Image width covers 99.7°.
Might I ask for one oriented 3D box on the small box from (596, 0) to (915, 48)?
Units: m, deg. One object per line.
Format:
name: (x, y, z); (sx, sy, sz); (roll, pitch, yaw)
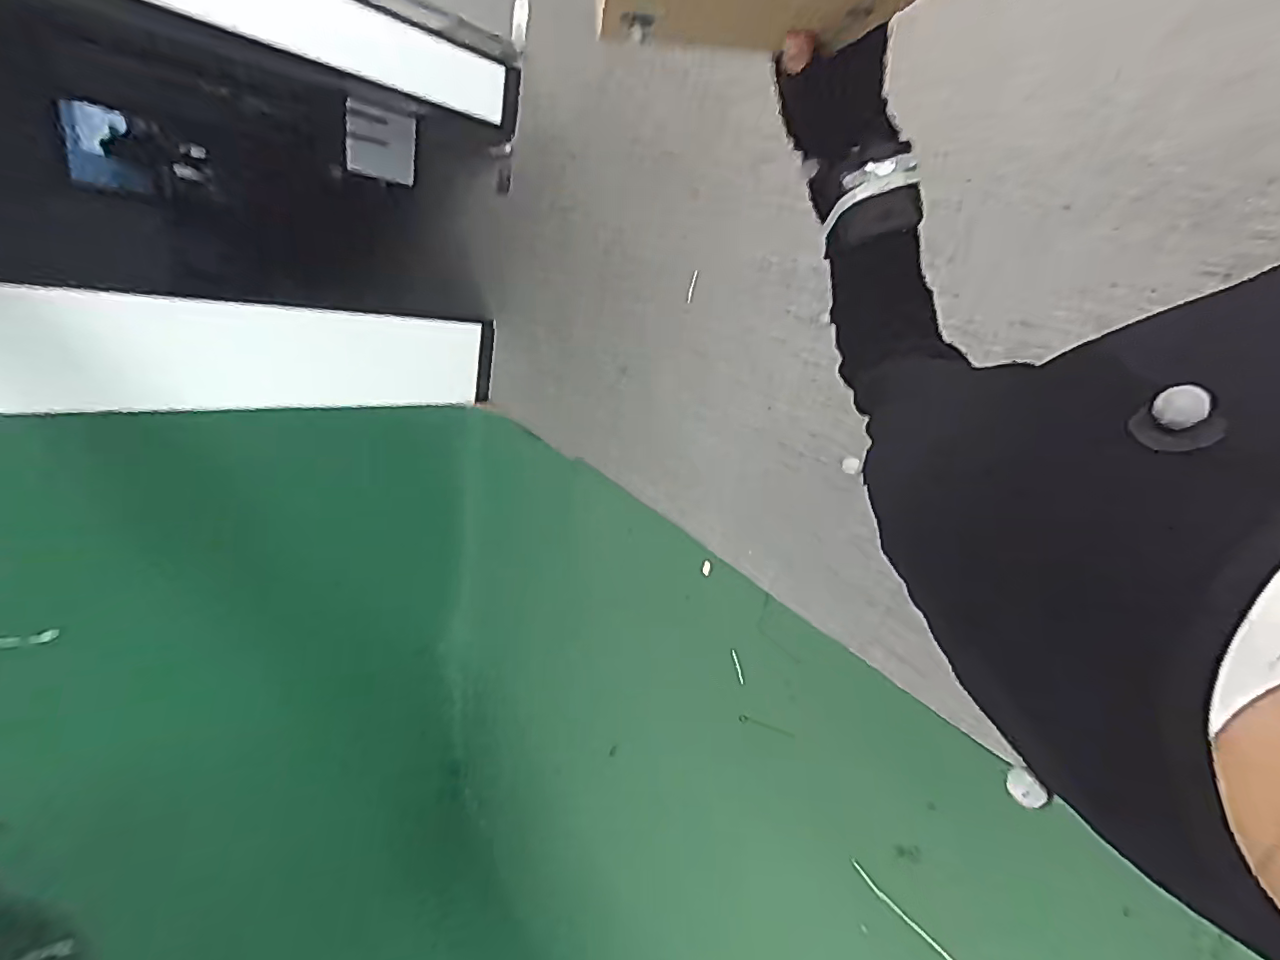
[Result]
small box: (0.069, -0.354, 0.275); (0.168, 0.176, 0.179); (-103, 15, -62)
